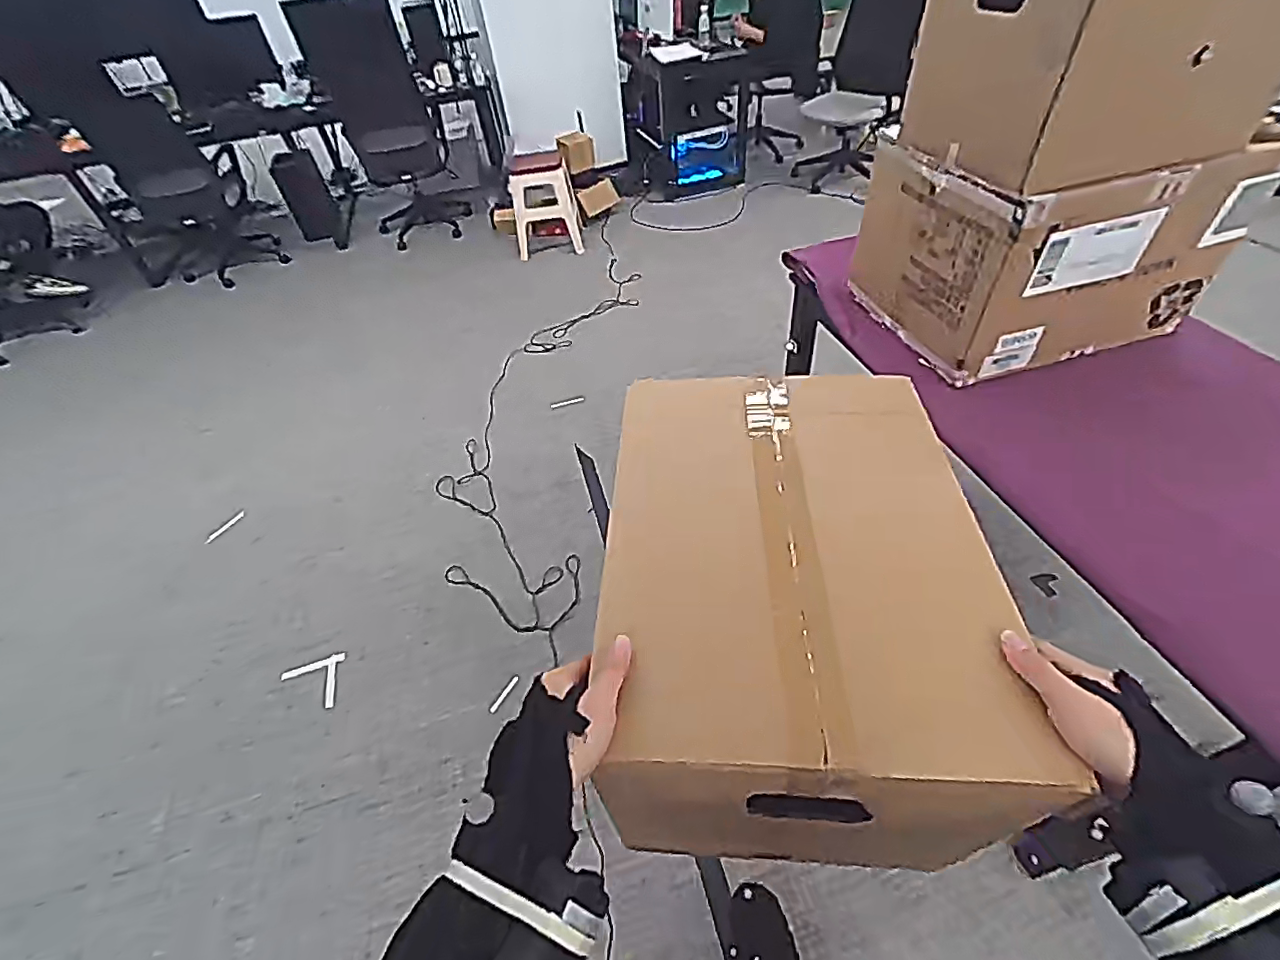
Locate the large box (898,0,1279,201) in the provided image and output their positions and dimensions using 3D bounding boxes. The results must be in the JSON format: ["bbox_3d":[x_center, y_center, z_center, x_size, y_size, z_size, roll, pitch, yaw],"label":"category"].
[{"bbox_3d":[0.684,-0.664,0.811,0.408,0.320,0.320,-16,45,-7],"label":"large box"}]
